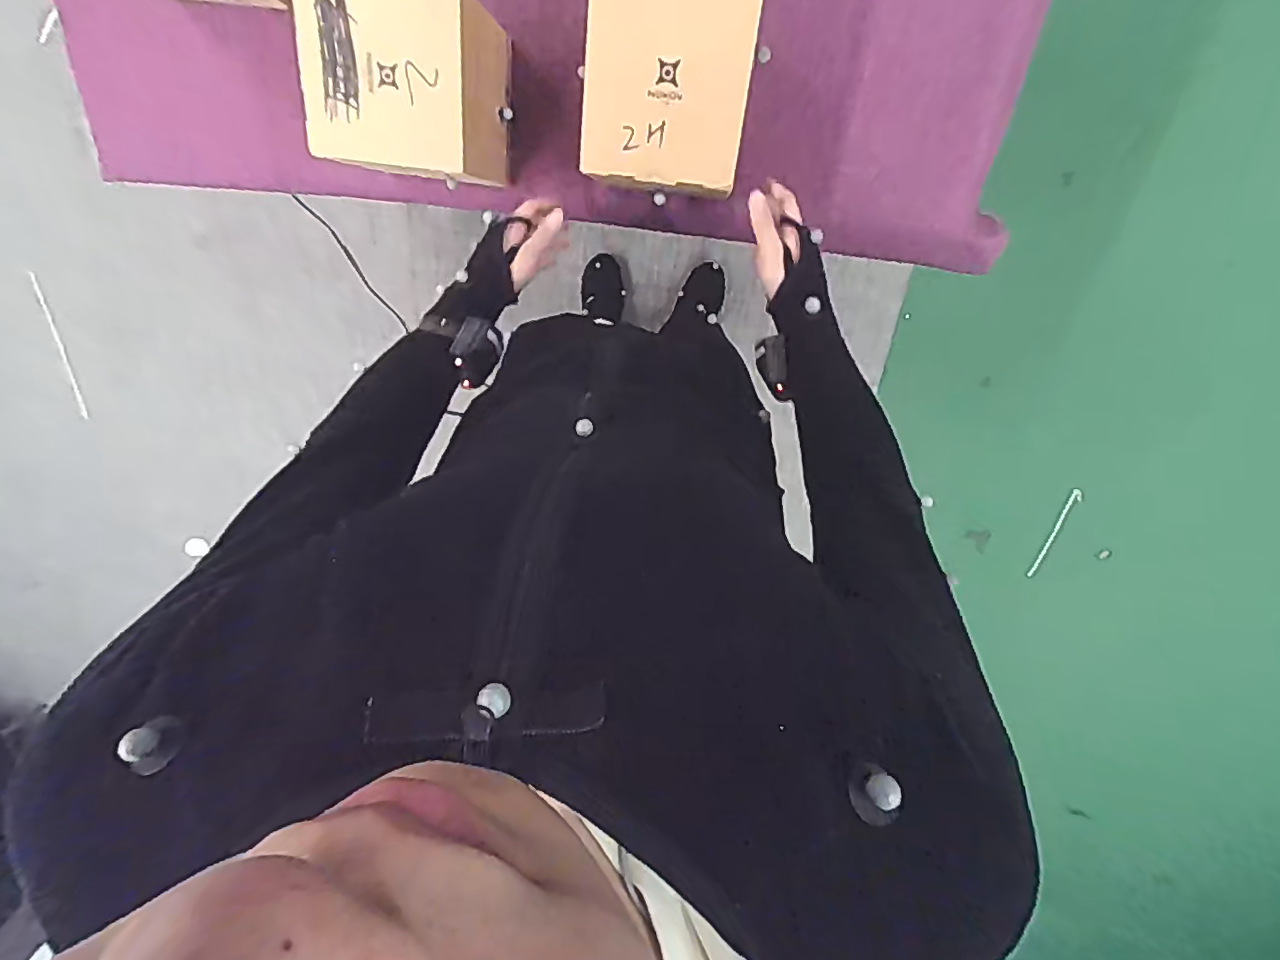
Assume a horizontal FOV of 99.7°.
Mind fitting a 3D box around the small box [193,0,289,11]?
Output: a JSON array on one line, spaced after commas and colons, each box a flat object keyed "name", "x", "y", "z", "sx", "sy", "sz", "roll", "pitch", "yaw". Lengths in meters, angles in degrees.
[{"name": "small box", "x": -0.510, "y": -0.639, "z": 0.566, "sx": 0.168, "sy": 0.176, "sz": 0.179, "roll": 8, "pitch": 115, "yaw": 3}]

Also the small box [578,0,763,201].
[{"name": "small box", "x": 0.032, "y": -0.427, "z": 0.610, "sx": 0.168, "sy": 0.176, "sz": 0.179, "roll": 9, "pitch": 115, "yaw": 2}]
